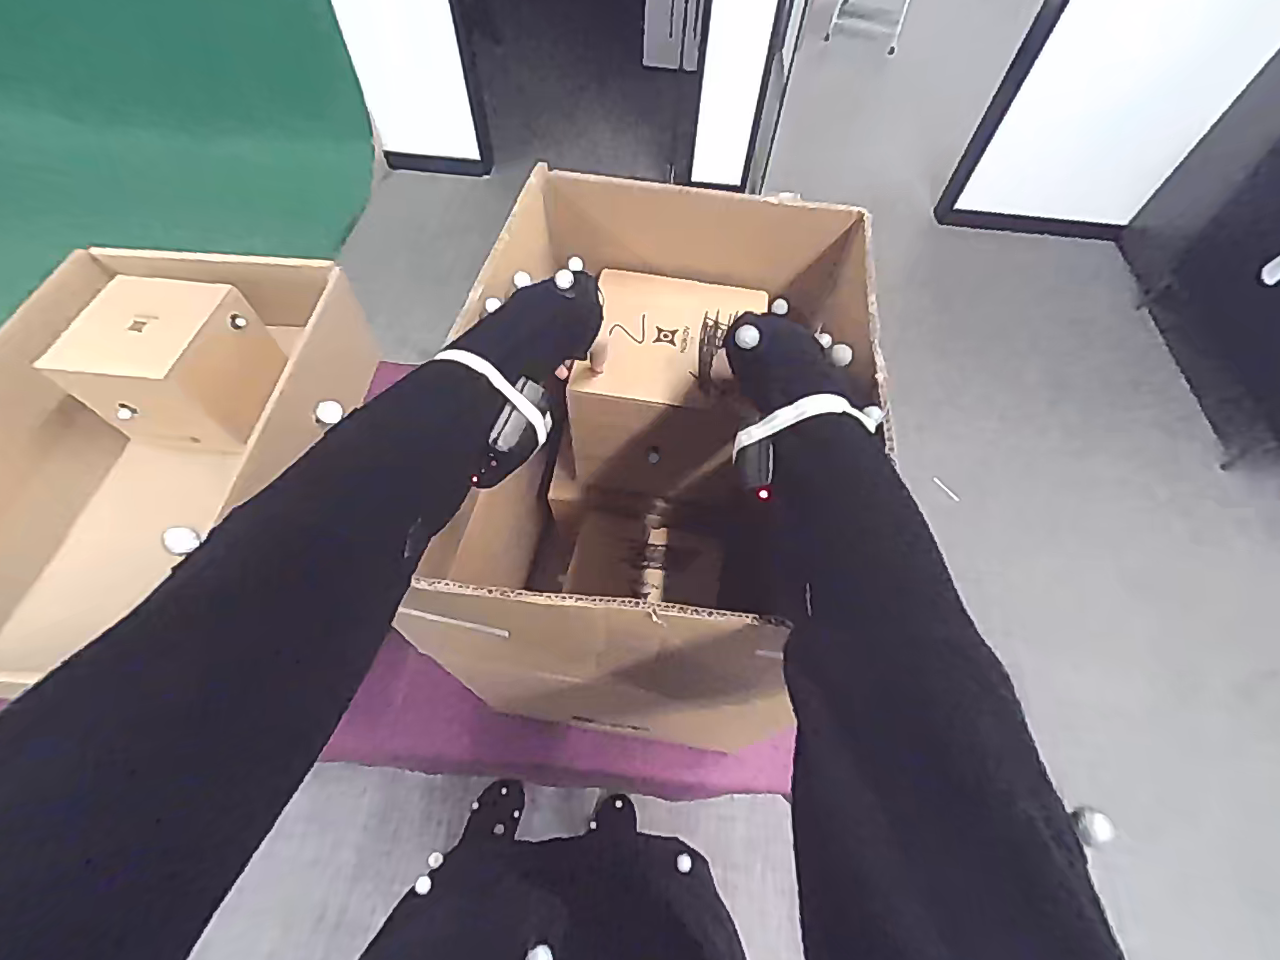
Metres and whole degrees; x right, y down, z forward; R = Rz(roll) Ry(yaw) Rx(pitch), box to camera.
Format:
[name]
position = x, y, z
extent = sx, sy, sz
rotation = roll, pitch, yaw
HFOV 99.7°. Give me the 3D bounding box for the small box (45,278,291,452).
[small box]
position = -0.644, -0.157, 0.771
extent = 0.168, 0.176, 0.179
rotation = 5, 59, 2
